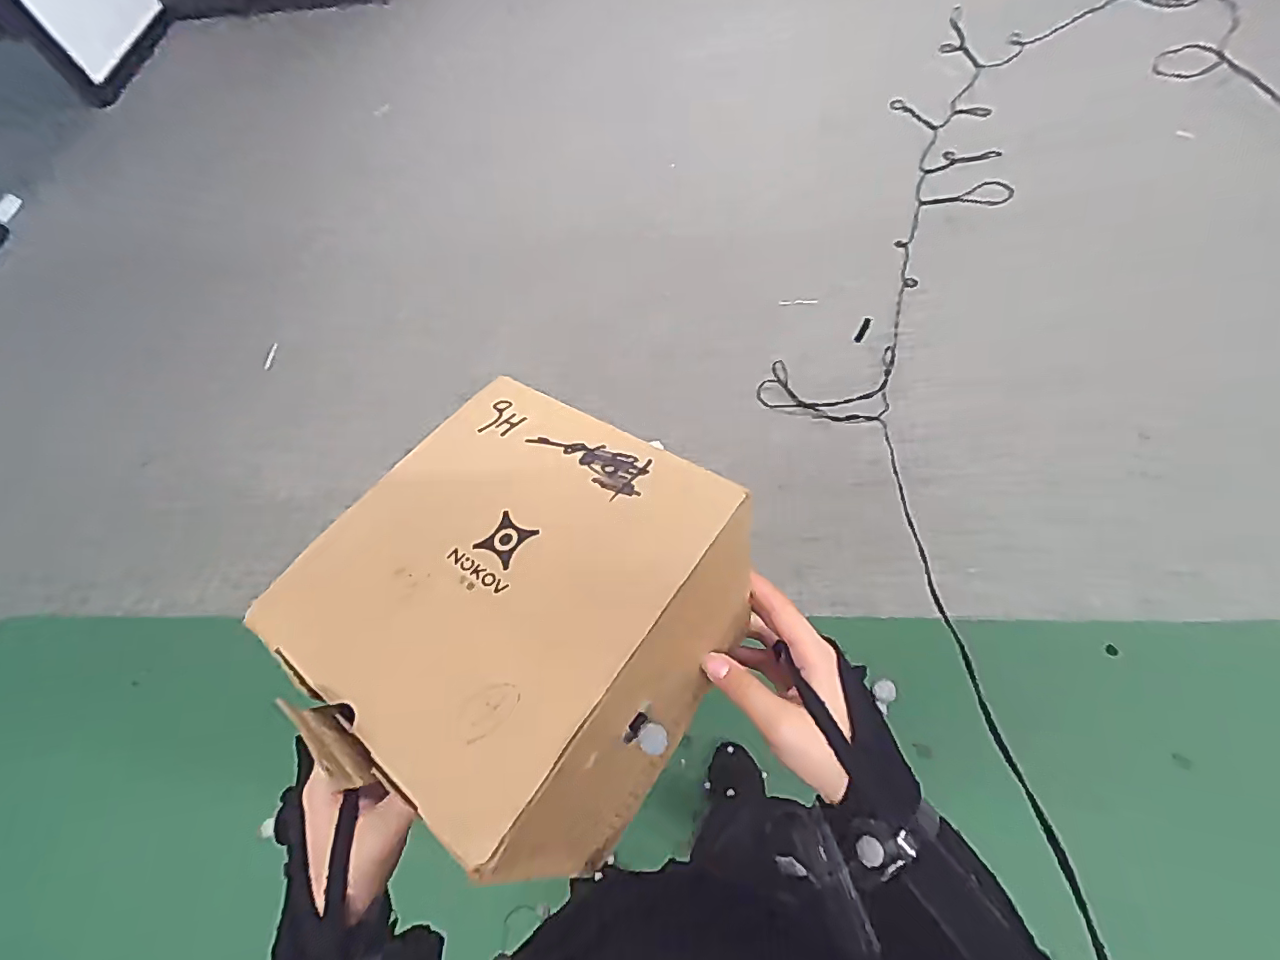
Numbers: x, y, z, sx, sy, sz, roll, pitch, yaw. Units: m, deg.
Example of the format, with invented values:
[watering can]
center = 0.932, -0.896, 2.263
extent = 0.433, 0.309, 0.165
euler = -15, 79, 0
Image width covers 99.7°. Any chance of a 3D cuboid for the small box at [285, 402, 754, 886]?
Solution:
[small box]
center = -0.043, 0.092, 0.317
extent = 0.168, 0.176, 0.179
euler = 27, 64, 27
